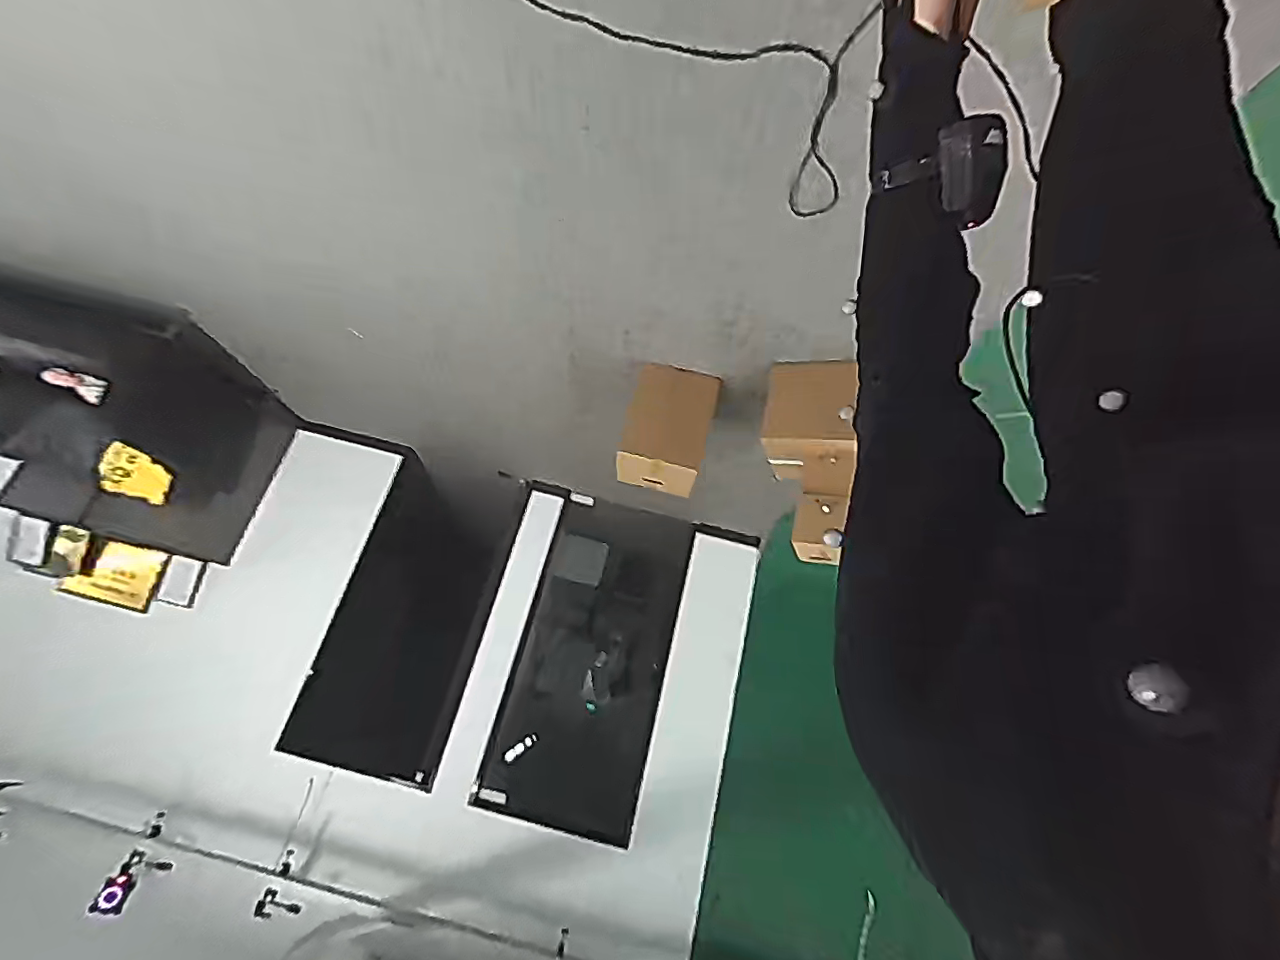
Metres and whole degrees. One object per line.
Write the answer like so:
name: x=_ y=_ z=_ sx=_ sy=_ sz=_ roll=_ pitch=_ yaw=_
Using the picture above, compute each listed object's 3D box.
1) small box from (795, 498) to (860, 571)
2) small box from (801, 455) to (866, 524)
small box: x=0.599 y=0.173 z=1.713 sx=0.168 sy=0.176 sz=0.179 roll=3 pitch=155 yaw=27
small box: x=0.644 y=0.031 z=1.783 sx=0.168 sy=0.176 sz=0.179 roll=1 pitch=154 yaw=31
